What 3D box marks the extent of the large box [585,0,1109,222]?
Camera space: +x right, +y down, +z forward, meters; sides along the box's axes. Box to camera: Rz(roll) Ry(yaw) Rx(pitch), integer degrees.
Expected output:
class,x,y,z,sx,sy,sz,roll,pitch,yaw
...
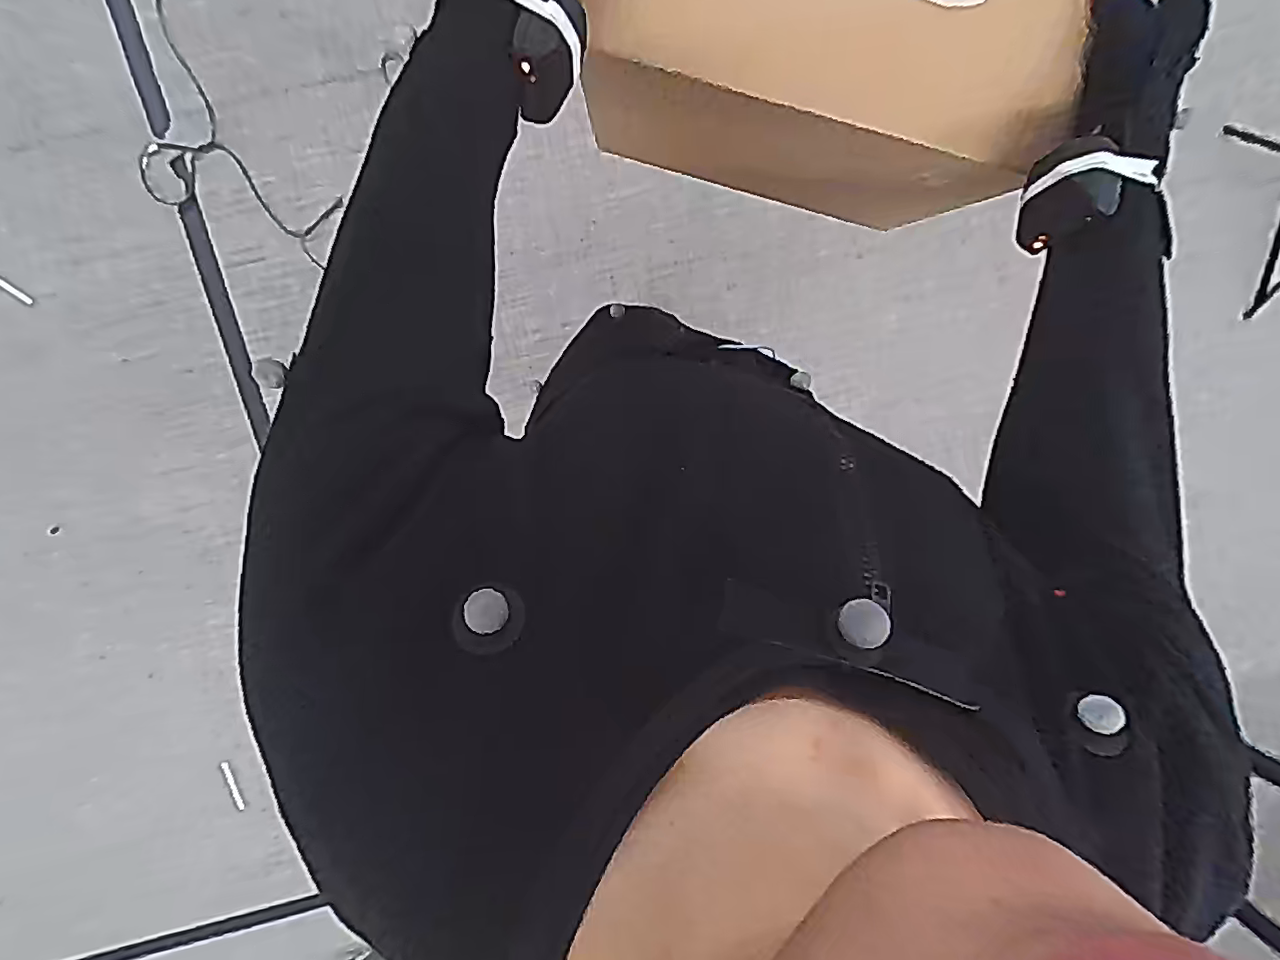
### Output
class,x,y,z,sx,sy,sz,roll,pitch,yaw
large box,0.177,-0.488,0.540,0.408,0.320,0.320,13,109,-6
